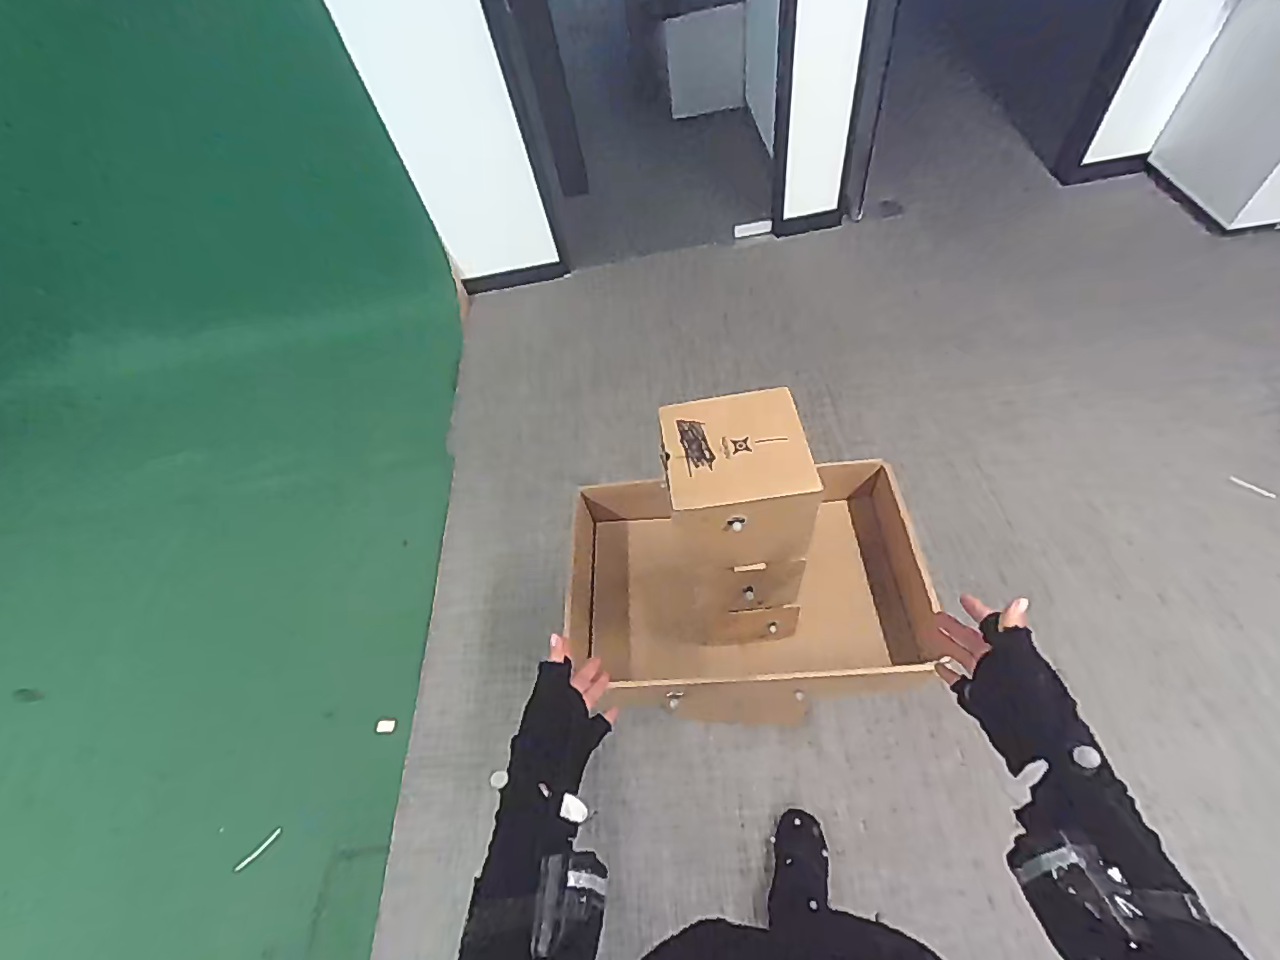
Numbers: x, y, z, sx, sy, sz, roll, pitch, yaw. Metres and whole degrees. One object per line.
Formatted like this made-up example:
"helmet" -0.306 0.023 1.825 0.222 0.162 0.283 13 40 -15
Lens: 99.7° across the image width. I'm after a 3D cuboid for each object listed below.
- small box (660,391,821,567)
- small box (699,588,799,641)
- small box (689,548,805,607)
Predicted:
"small box" 0.128 0.006 0.730 0.179 0.176 0.168 -8 55 3
"small box" 0.189 0.188 0.998 0.168 0.176 0.179 -7 53 5
"small box" 0.158 0.095 0.867 0.168 0.176 0.179 -7 56 5
